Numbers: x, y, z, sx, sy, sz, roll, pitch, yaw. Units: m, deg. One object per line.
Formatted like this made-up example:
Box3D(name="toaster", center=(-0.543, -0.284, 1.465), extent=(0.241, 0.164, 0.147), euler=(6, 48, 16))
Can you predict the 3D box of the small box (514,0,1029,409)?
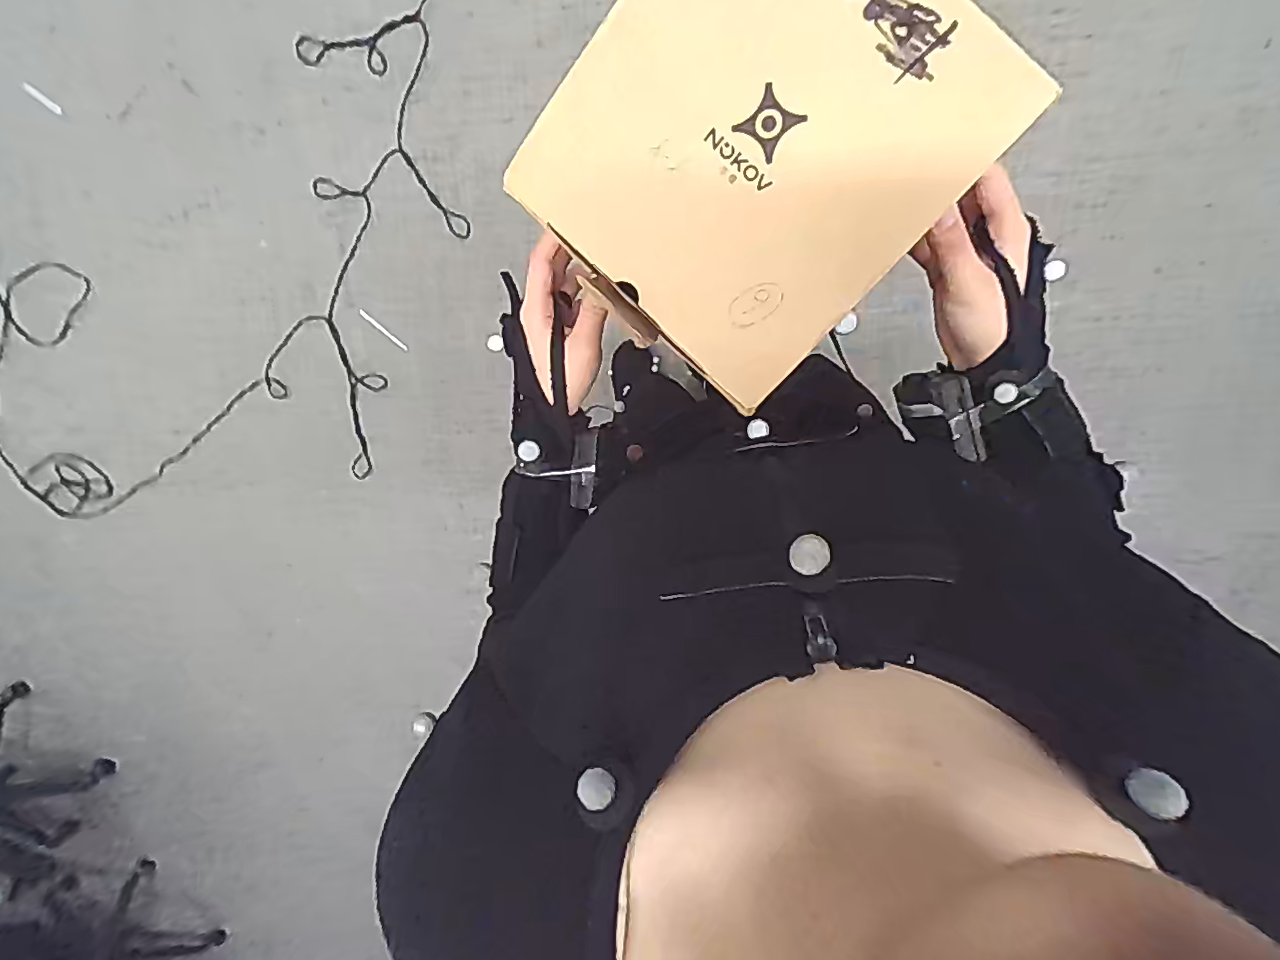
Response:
Box3D(name="small box", center=(0.065, -0.164, 0.324), extent=(0.168, 0.176, 0.179), euler=(43, 106, -1))
